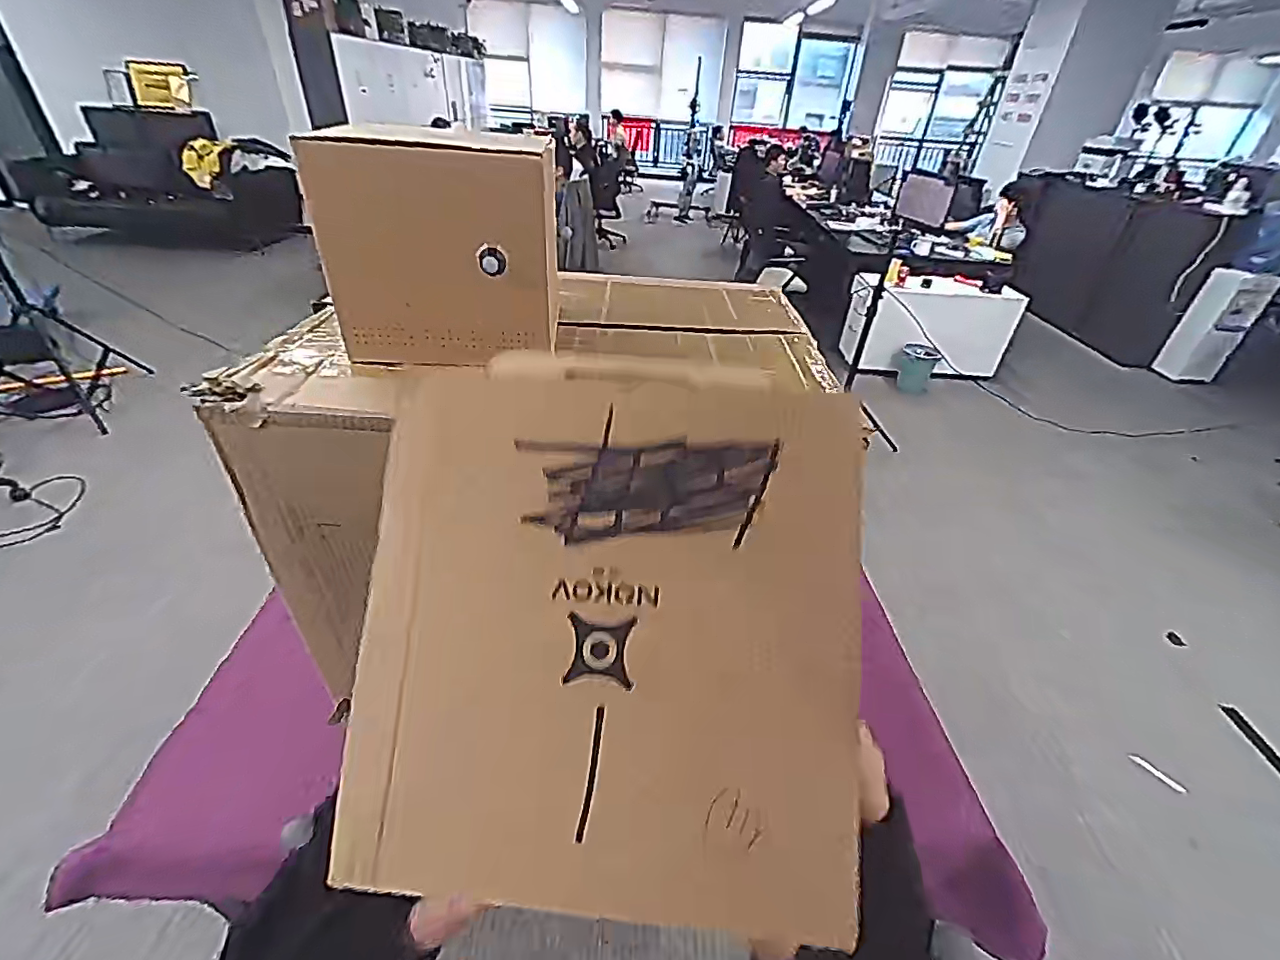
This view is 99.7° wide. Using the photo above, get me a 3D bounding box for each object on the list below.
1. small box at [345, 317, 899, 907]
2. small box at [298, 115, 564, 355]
[{"bbox_3d":[0.002,0.047,0.252,0.168,0.176,0.179,4,79,4],"label":"small box"},{"bbox_3d":[-0.158,-0.217,0.484,0.179,0.176,0.168,-1,35,-6],"label":"small box"}]
